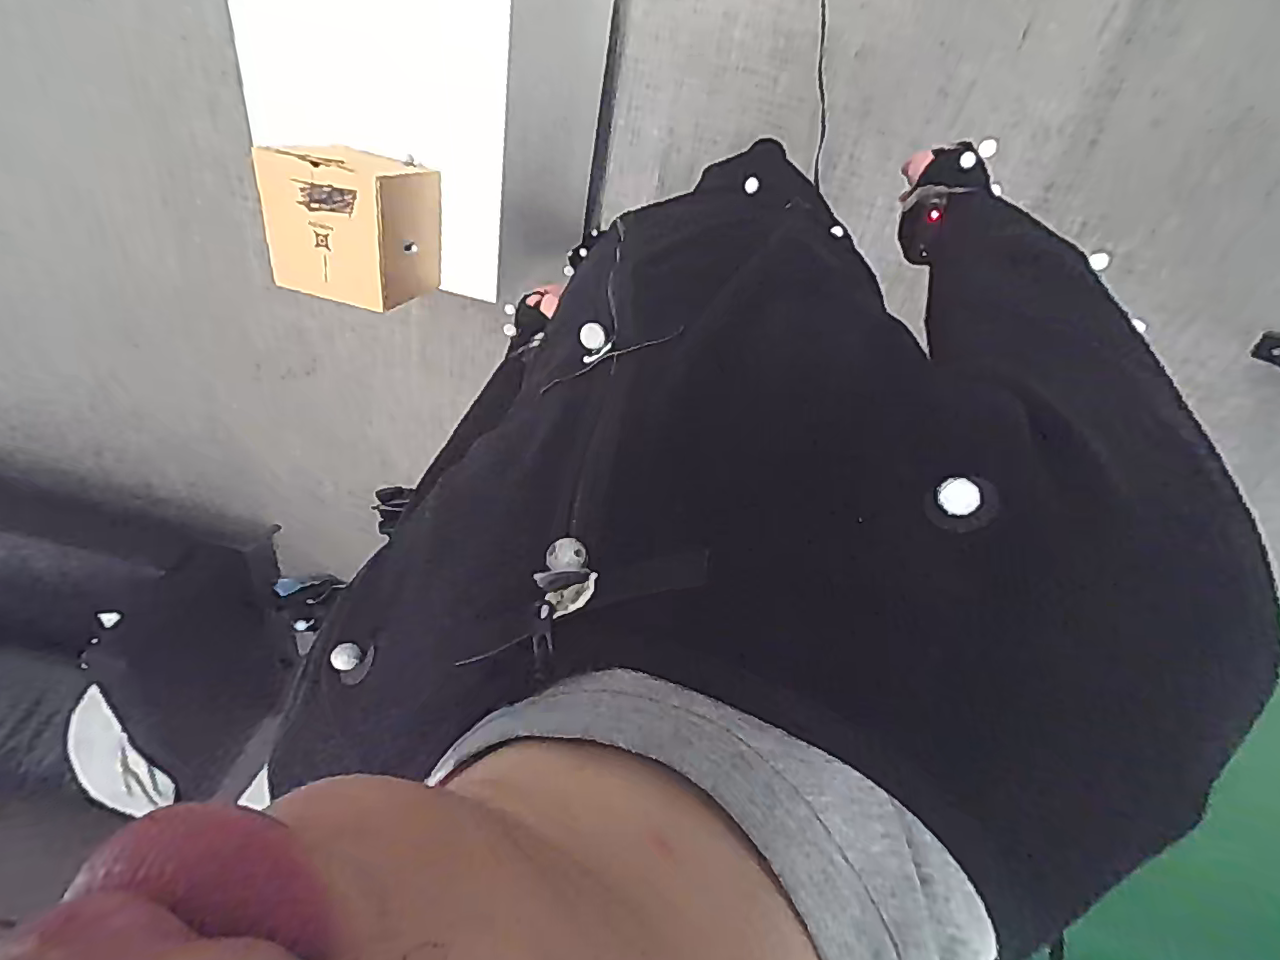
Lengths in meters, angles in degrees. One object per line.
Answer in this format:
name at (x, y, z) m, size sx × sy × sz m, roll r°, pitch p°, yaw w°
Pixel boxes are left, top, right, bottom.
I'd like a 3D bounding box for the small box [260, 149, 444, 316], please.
small box at (-0.401, -0.365, 0.787) m, size 0.168 × 0.176 × 0.179 m, roll 16°, pitch 124°, yaw 2°
